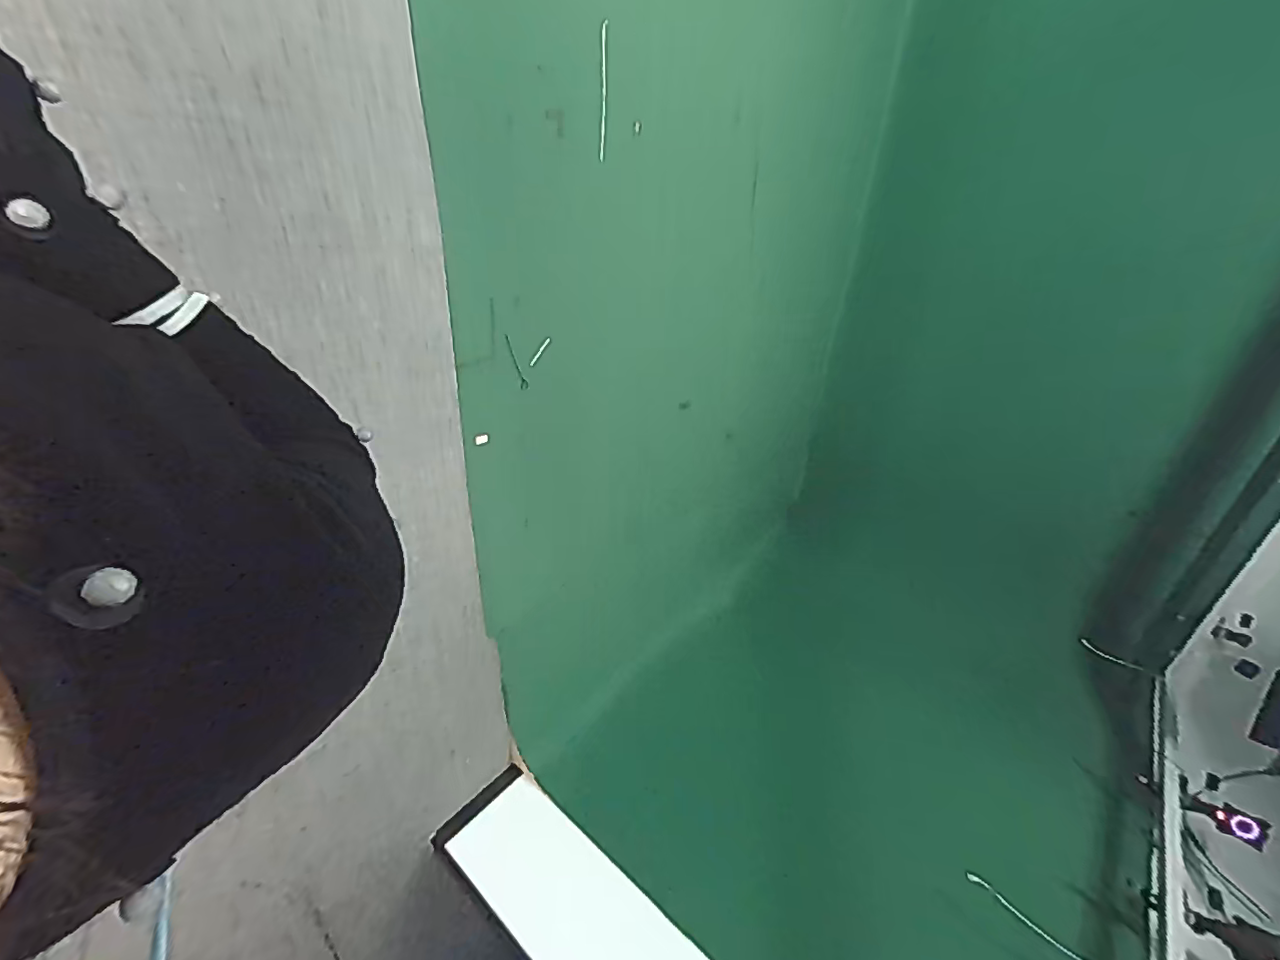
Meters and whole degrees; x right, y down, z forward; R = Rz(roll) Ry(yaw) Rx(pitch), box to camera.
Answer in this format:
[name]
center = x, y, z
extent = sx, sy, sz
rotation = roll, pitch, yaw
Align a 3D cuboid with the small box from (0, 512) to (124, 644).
[small box]
center = -1.189, 0.183, 1.078
extent = 0.168, 0.176, 0.179
rotation = -28, 133, -41
